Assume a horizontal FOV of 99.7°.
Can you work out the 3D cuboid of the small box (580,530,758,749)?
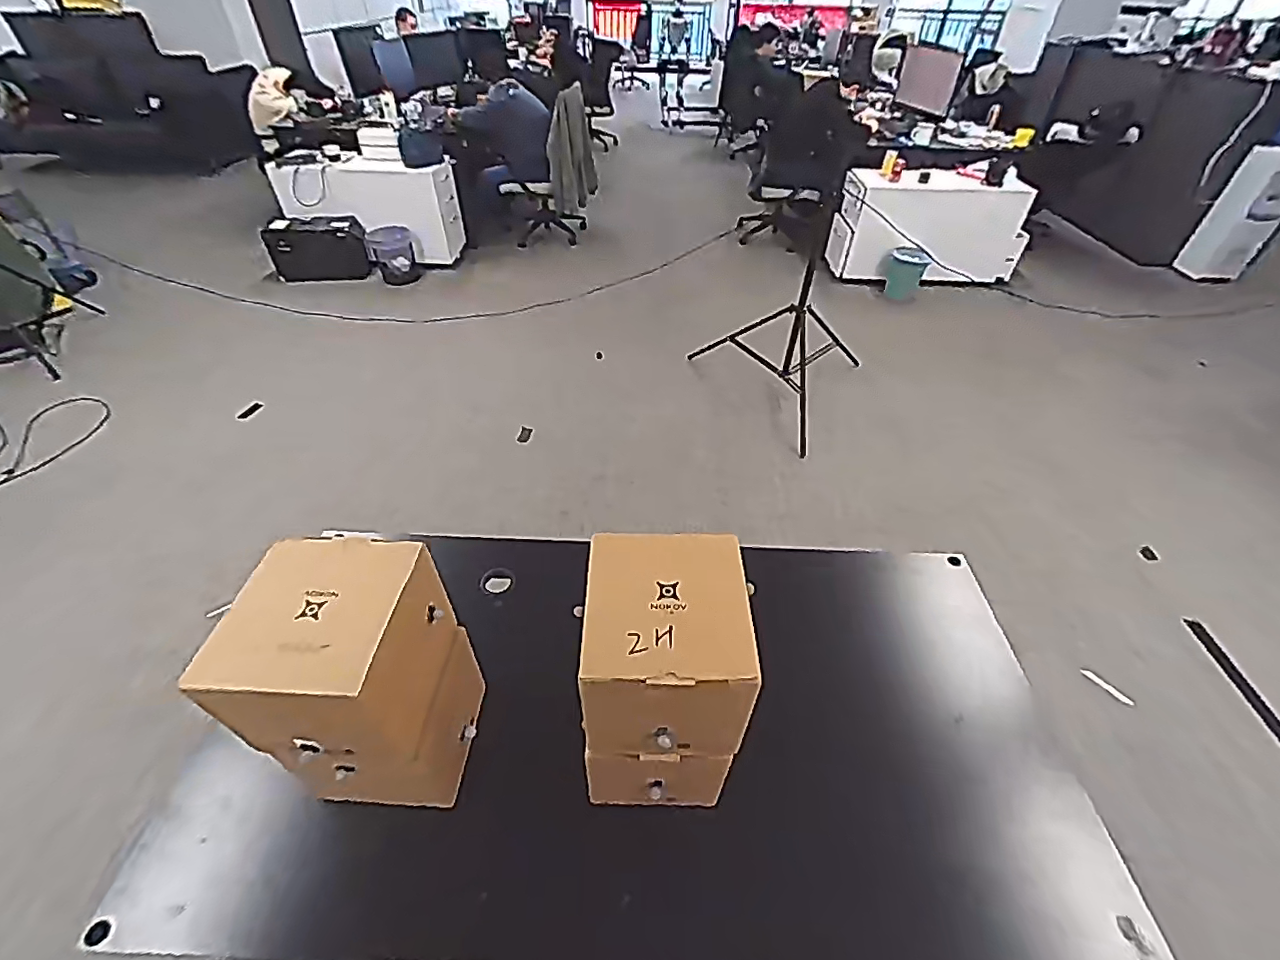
[{"bbox_3d":[0.025,0.176,0.604,0.168,0.176,0.179,0,43,0],"label":"small box"}]

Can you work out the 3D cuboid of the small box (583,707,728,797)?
[{"bbox_3d":[0.019,0.301,0.714,0.168,0.176,0.179,1,43,0],"label":"small box"}]

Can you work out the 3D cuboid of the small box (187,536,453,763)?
[{"bbox_3d":[-0.318,0.183,0.590,0.168,0.176,0.179,1,44,2],"label":"small box"}]

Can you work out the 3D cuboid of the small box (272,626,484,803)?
[{"bbox_3d":[-0.319,0.301,0.703,0.179,0.176,0.168,4,43,1],"label":"small box"}]
